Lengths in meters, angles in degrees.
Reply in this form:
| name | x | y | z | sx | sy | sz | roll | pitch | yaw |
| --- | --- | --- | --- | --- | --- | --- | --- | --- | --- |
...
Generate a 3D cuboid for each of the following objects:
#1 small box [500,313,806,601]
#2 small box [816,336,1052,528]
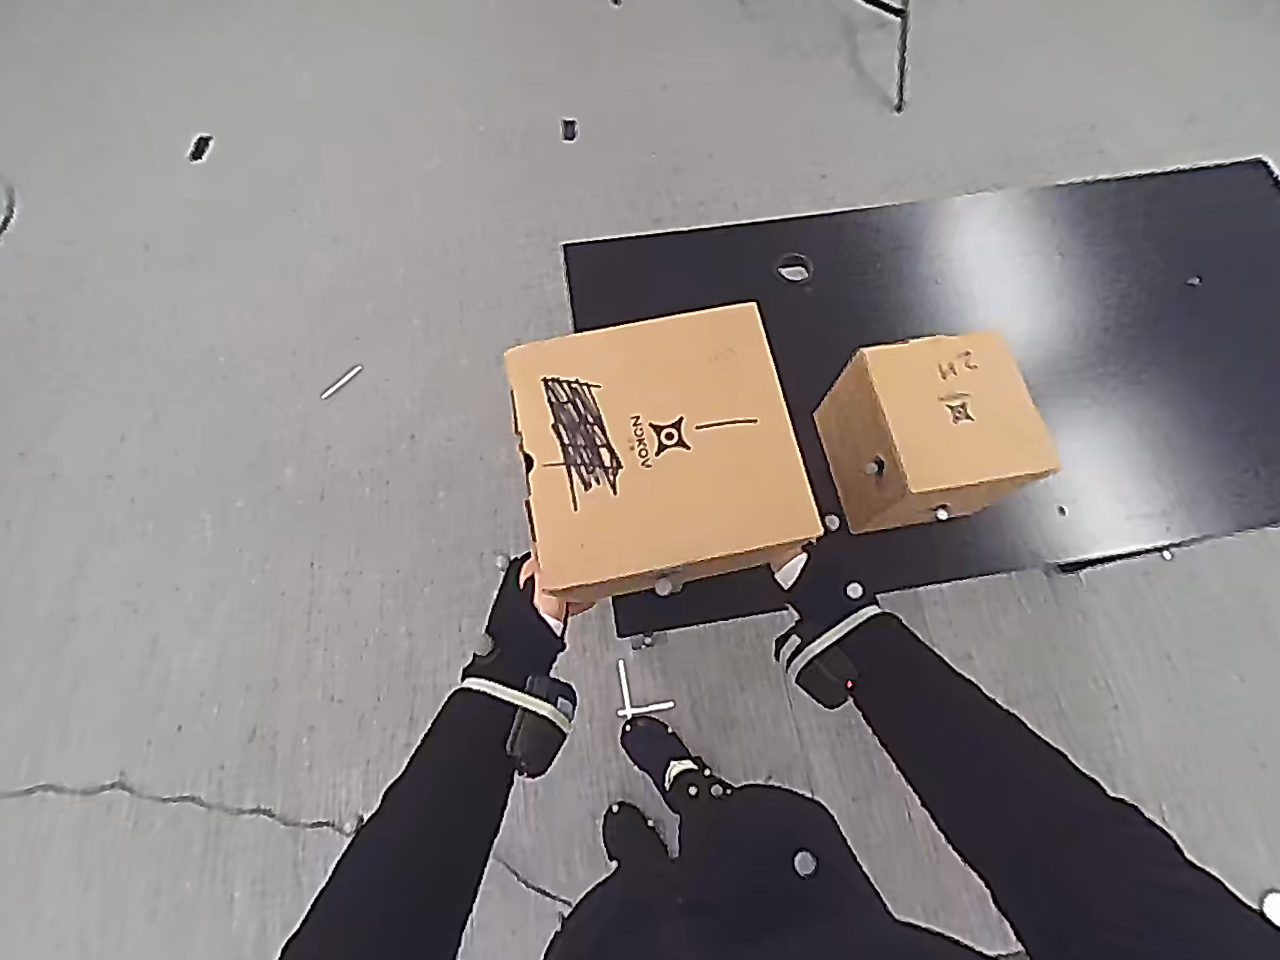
| name | x | y | z | sx | sy | sz | roll | pitch | yaw |
| --- | --- | --- | --- | --- | --- | --- | --- | --- | --- |
| small box | 0.006 | -0.003 | 0.429 | 0.179 | 0.176 | 0.168 | -12 | 76 | -3 |
| small box | 0.338 | -0.047 | 0.662 | 0.168 | 0.176 | 0.179 | -9 | 70 | -4 |
